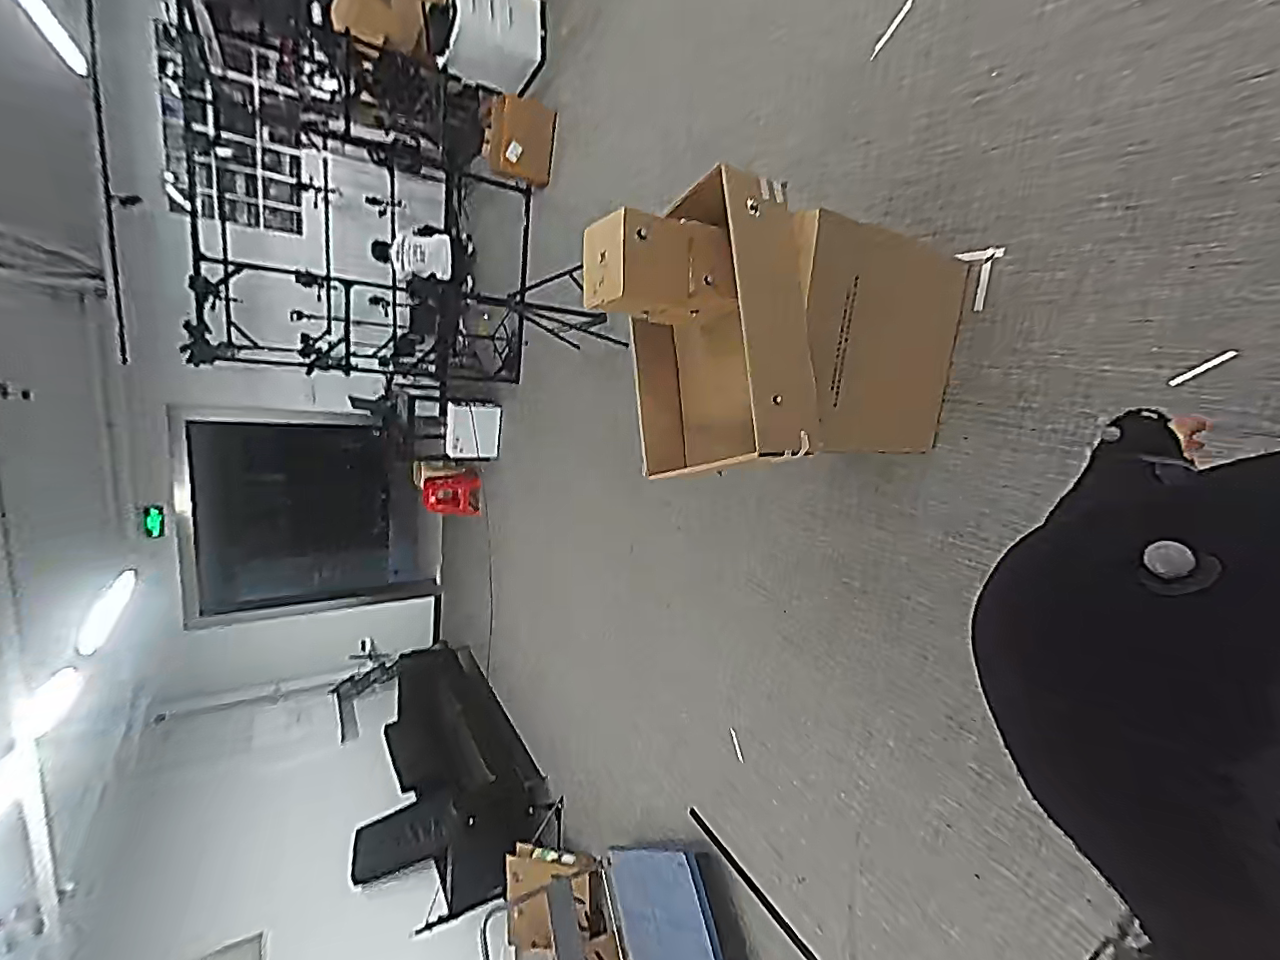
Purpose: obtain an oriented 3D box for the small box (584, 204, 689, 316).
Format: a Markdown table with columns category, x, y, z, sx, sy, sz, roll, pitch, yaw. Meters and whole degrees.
| category | x | y | z | sx | sy | sz | roll | pitch | yaw |
| --- | --- | --- | --- | --- | --- | --- | --- | --- | --- |
| small box | -0.007 | -0.464 | 1.168 | 0.168 | 0.176 | 0.179 | 10 | 102 | 56 |
